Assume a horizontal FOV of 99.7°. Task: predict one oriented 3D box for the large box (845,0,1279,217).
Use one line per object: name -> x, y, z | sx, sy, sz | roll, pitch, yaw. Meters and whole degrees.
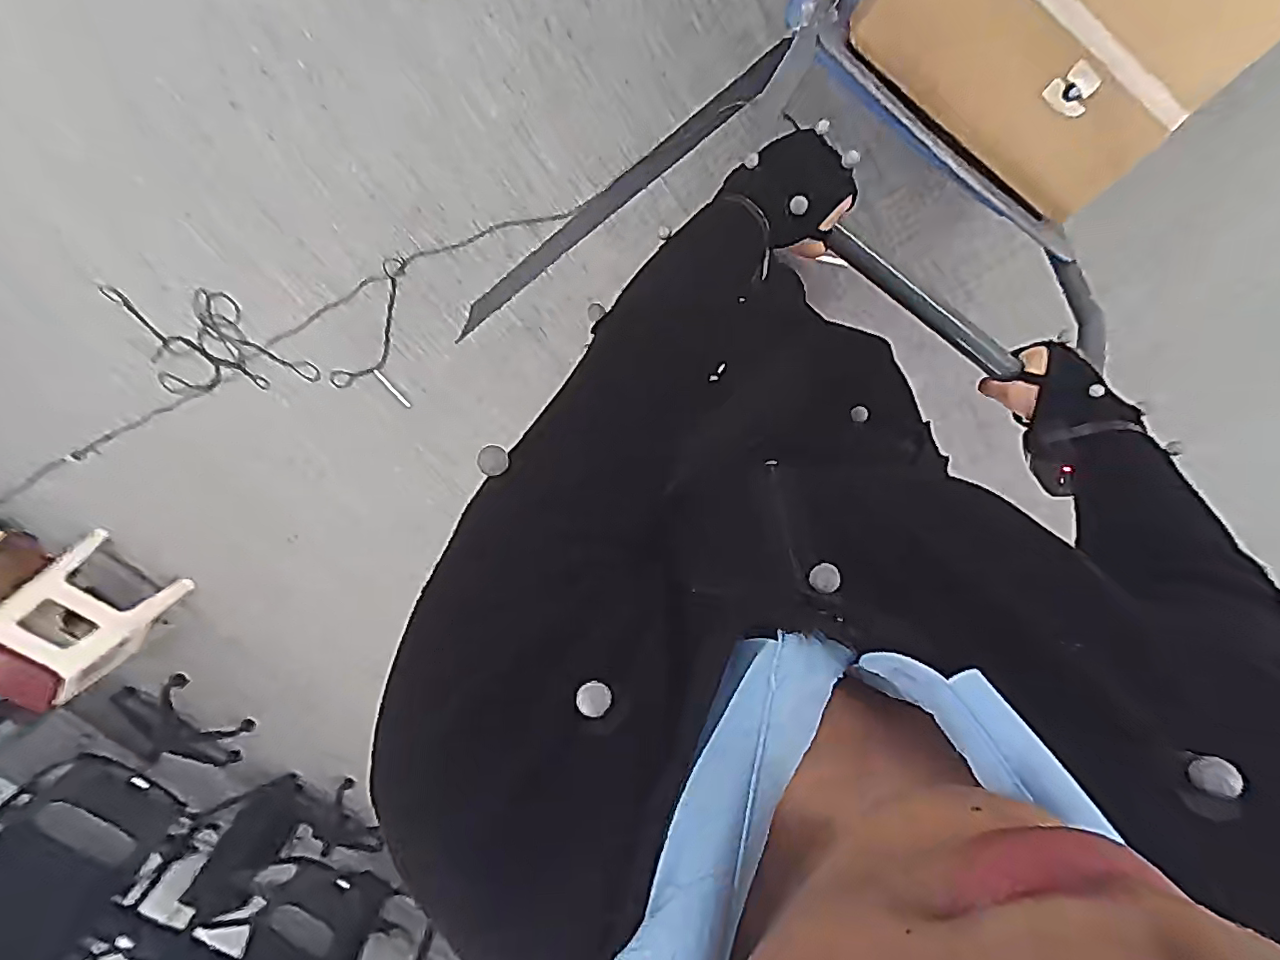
large box -> 0.552, -0.667, 0.760 | 0.408, 0.320, 0.320 | 31, 136, -12
